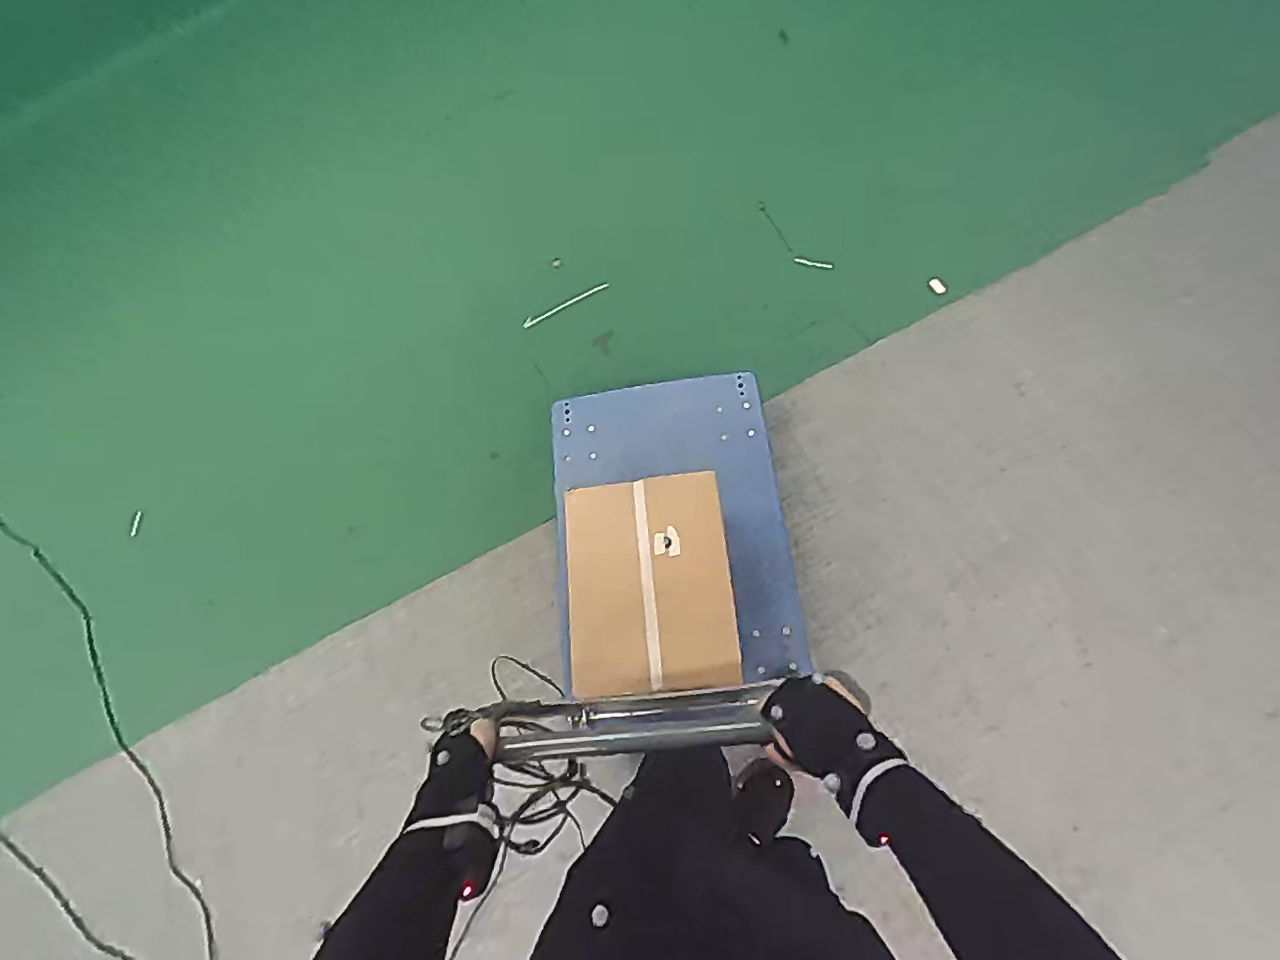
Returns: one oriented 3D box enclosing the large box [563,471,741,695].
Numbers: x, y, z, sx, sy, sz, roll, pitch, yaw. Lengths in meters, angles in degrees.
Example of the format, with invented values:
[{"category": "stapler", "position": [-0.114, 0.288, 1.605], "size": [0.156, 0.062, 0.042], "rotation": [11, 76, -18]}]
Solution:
[{"category": "large box", "position": [0.032, 0.234, 1.175], "size": [0.320, 0.320, 0.408], "rotation": [-7, 71, 6]}]
